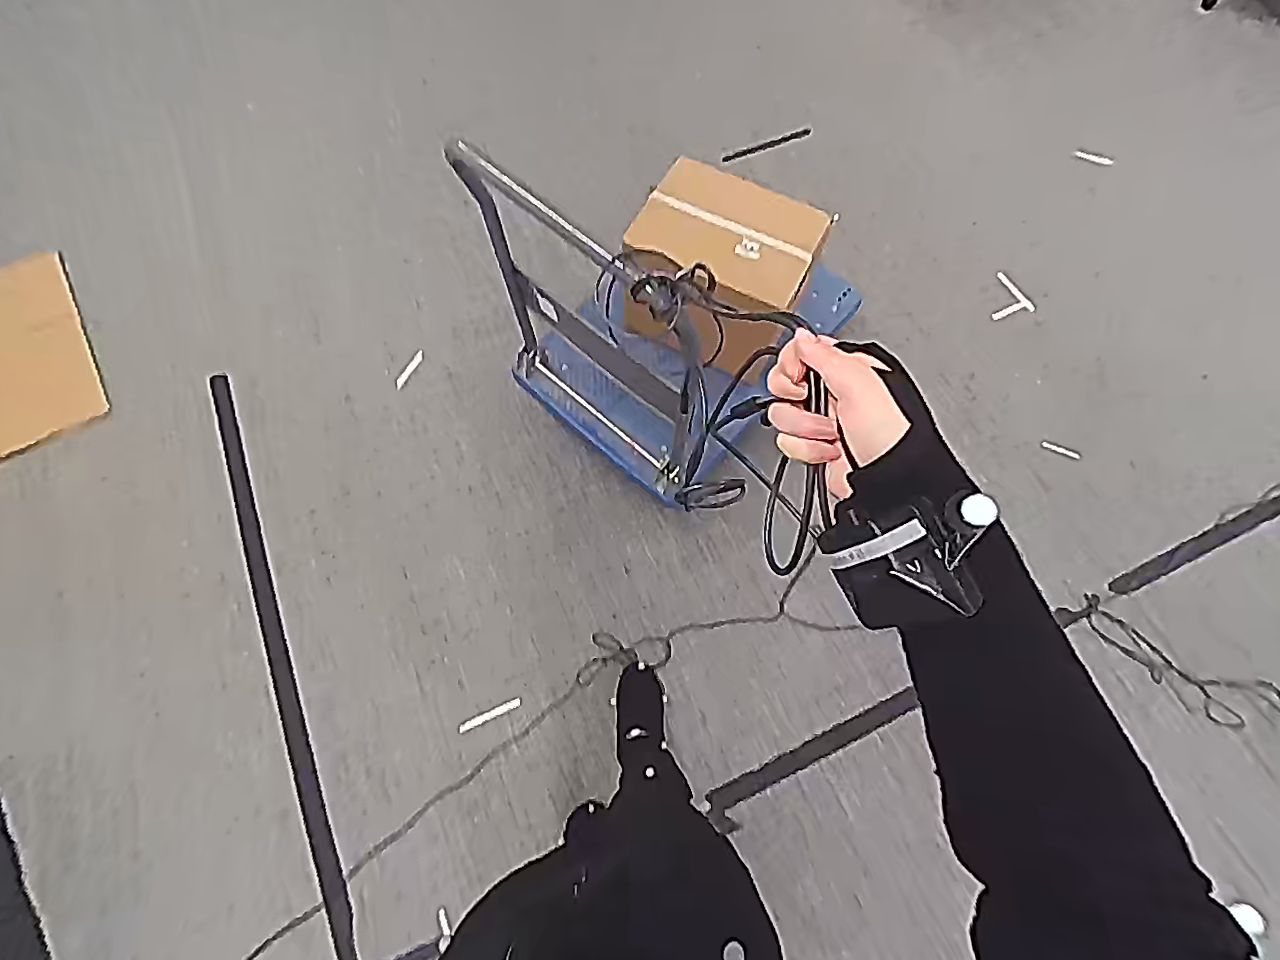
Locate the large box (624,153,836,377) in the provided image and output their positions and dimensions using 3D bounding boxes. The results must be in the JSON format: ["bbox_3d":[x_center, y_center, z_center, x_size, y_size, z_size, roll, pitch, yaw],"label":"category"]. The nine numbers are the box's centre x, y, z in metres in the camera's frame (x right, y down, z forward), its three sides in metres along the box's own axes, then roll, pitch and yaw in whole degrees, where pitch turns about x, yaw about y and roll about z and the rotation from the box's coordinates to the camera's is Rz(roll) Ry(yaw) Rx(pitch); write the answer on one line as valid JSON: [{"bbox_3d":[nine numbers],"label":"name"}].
[{"bbox_3d":[0.204,-0.528,1.364,0.408,0.320,0.320,27,72,8],"label":"large box"}]
